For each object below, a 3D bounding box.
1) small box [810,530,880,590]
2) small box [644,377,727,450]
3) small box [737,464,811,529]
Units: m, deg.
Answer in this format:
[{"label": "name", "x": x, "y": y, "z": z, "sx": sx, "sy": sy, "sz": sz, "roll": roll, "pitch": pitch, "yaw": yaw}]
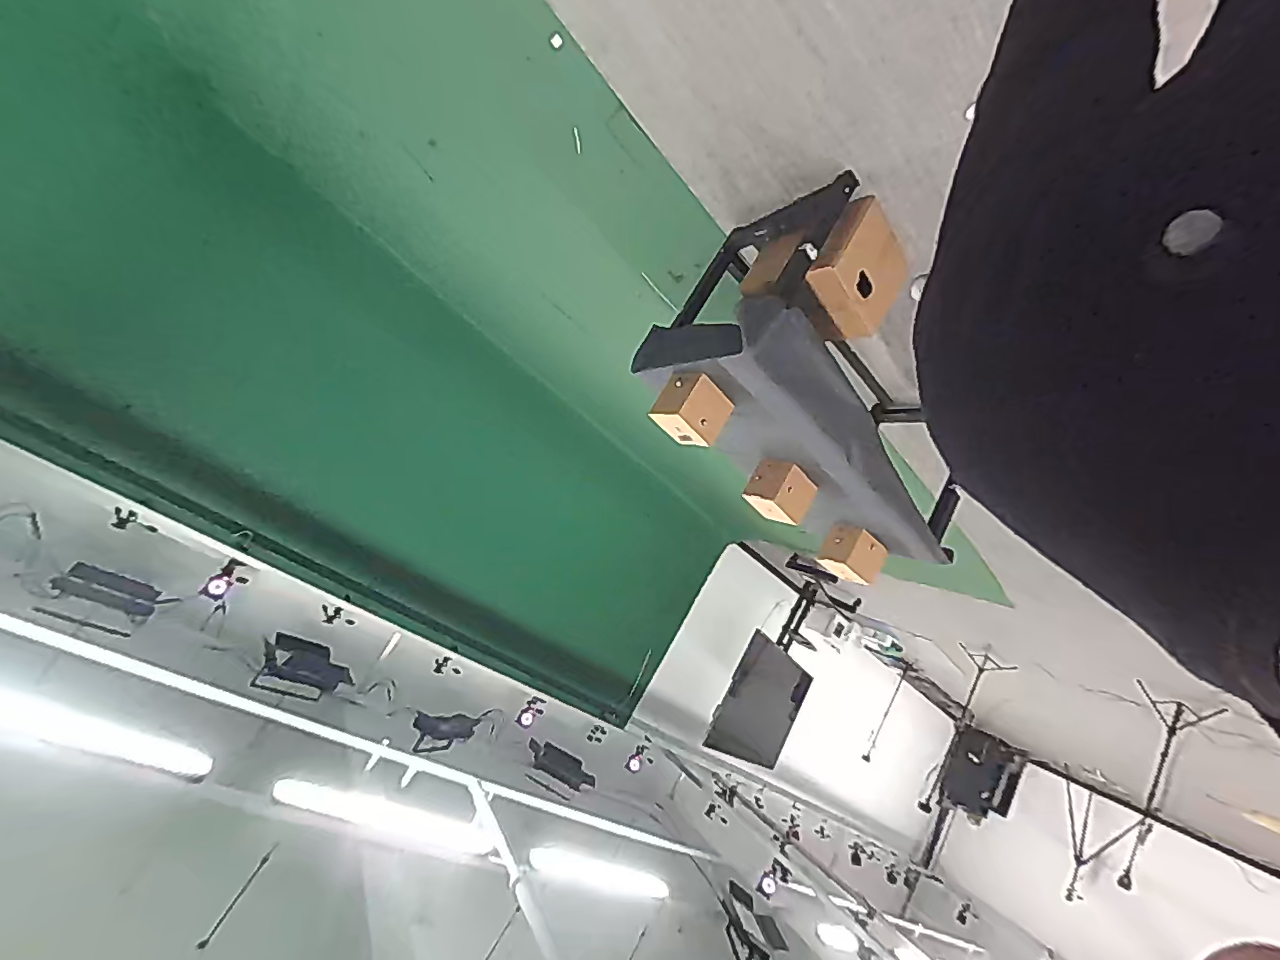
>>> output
[{"label": "small box", "x": 0.834, "y": 0.319, "z": 2.193, "sx": 0.179, "sy": 0.176, "sz": 0.168, "roll": 39, "pitch": 165, "yaw": -23}, {"label": "small box", "x": 0.153, "y": -0.219, "z": 1.776, "sx": 0.179, "sy": 0.176, "sz": 0.168, "roll": 41, "pitch": 163, "yaw": -32}, {"label": "small box", "x": 0.500, "y": 0.057, "z": 2.010, "sx": 0.179, "sy": 0.176, "sz": 0.168, "roll": 39, "pitch": 166, "yaw": -31}]
